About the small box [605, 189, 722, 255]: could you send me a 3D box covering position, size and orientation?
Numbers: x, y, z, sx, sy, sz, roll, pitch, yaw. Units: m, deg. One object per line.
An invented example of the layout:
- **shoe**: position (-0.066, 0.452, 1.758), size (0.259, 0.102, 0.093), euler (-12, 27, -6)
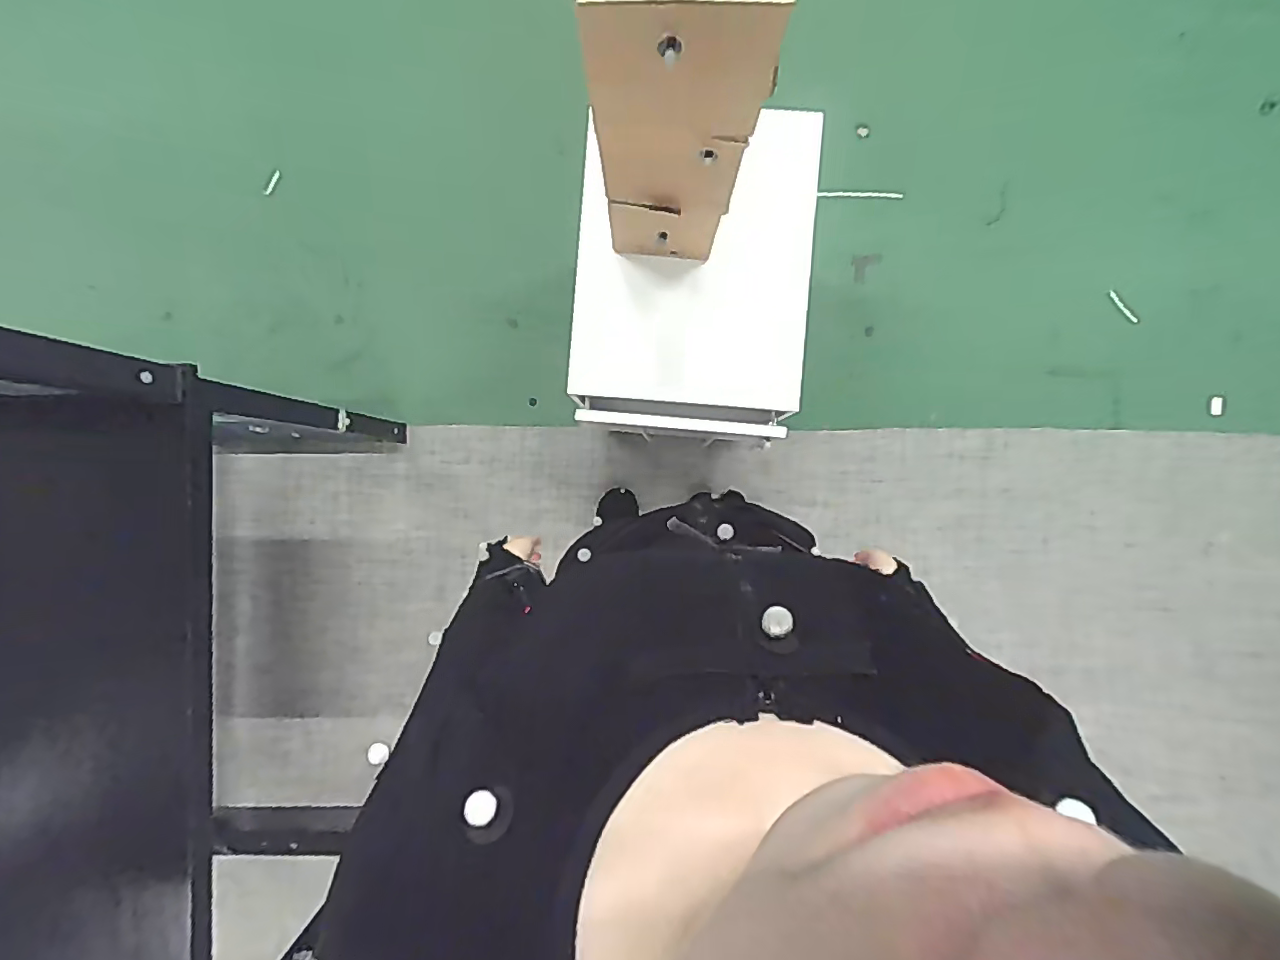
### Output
- **small box**: position (0.043, -0.462, 0.821), size (0.168, 0.176, 0.179), euler (5, 91, 0)

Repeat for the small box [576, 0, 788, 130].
- **small box**: position (0.035, -0.452, 0.494), size (0.179, 0.176, 0.168), euler (1, 91, 0)

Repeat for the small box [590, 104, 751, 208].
- **small box**: position (0.044, -0.458, 0.659), size (0.179, 0.176, 0.168), euler (8, 90, 0)
